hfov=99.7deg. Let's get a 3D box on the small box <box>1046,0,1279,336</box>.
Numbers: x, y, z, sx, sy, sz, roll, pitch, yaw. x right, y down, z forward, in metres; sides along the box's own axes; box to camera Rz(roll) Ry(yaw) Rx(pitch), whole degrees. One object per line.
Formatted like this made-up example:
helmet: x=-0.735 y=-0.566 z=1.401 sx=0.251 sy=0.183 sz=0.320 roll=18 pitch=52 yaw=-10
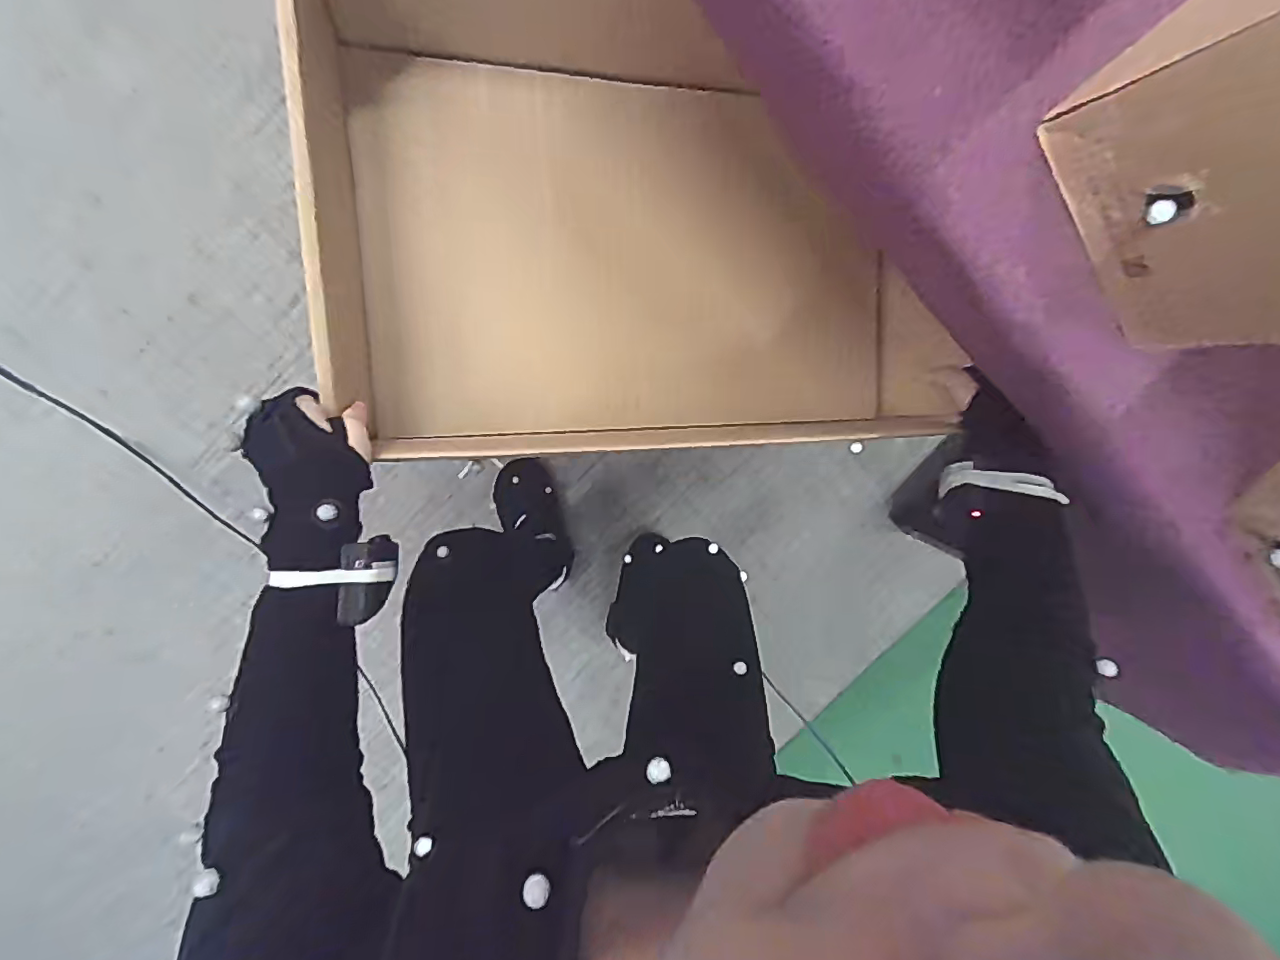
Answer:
small box: x=0.367 y=-0.191 z=0.271 sx=0.179 sy=0.176 sz=0.168 roll=-40 pitch=106 yaw=2
